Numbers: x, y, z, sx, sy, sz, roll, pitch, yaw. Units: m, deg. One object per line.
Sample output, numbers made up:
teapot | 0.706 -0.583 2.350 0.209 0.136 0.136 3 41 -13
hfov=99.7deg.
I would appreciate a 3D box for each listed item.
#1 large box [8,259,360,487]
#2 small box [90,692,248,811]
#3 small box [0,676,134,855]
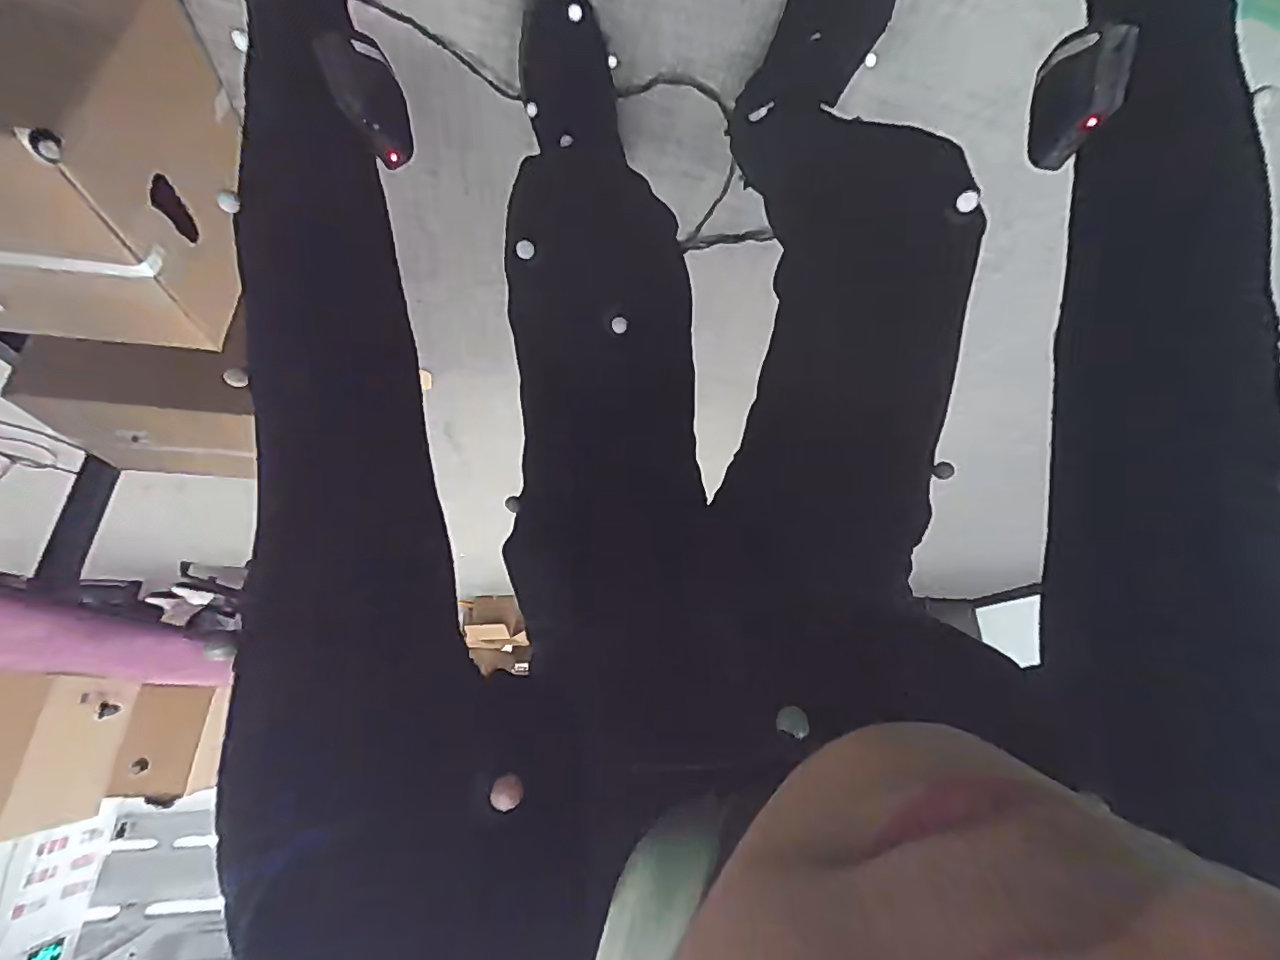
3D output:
large box | -0.847 -0.196 1.090 0.408 0.320 0.320 6 155 -11
small box | -0.818 0.460 0.936 0.179 0.176 0.168 6 156 -9
small box | -0.743 0.317 0.612 0.179 0.176 0.168 6 157 -12
